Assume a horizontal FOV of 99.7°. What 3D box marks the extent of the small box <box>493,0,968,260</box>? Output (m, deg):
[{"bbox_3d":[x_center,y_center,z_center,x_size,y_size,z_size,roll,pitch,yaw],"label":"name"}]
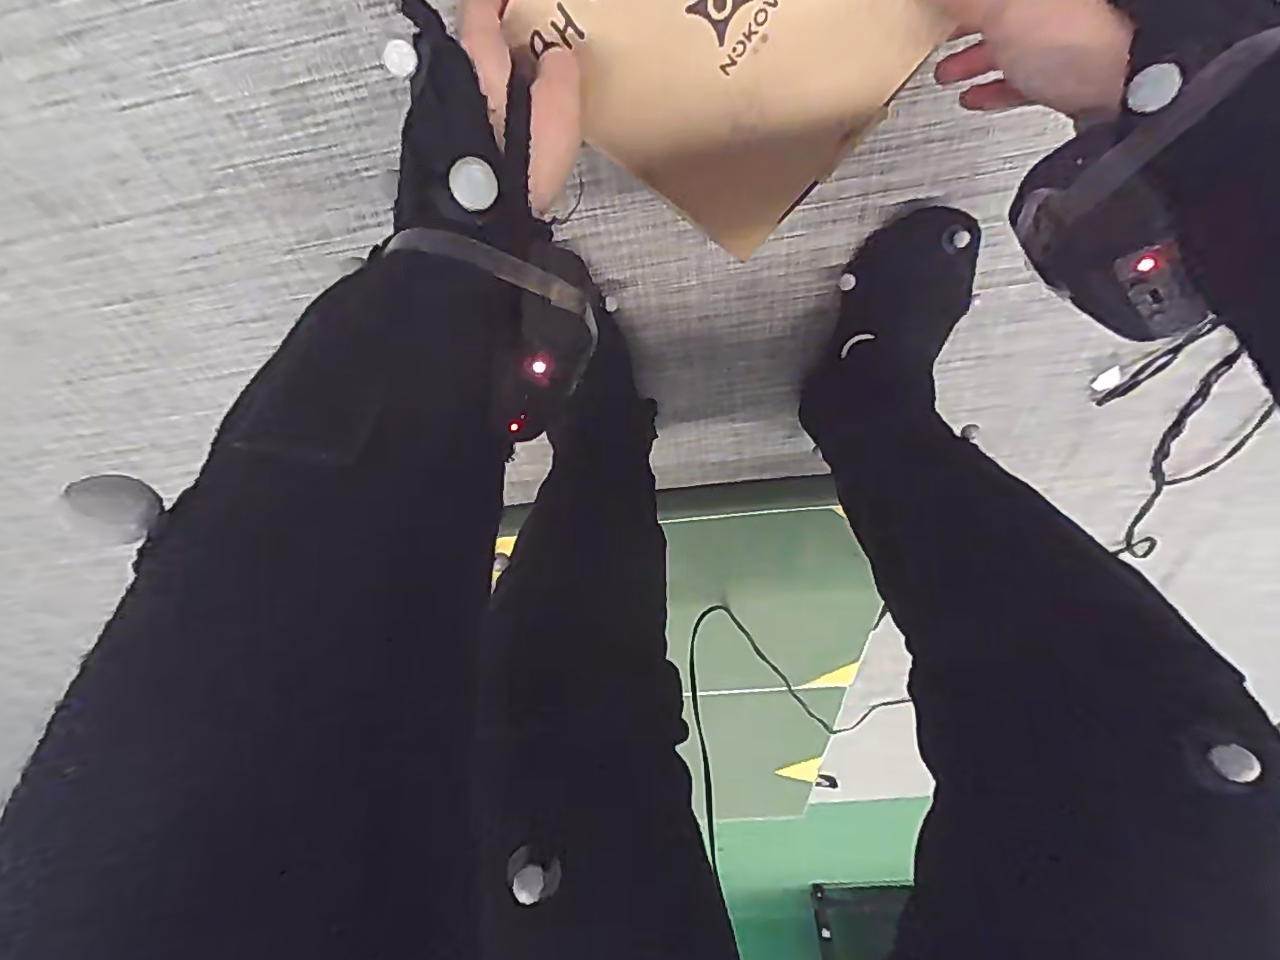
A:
[{"bbox_3d":[0.041,-0.277,0.318,0.179,0.176,0.168,26,131,-26],"label":"small box"}]
